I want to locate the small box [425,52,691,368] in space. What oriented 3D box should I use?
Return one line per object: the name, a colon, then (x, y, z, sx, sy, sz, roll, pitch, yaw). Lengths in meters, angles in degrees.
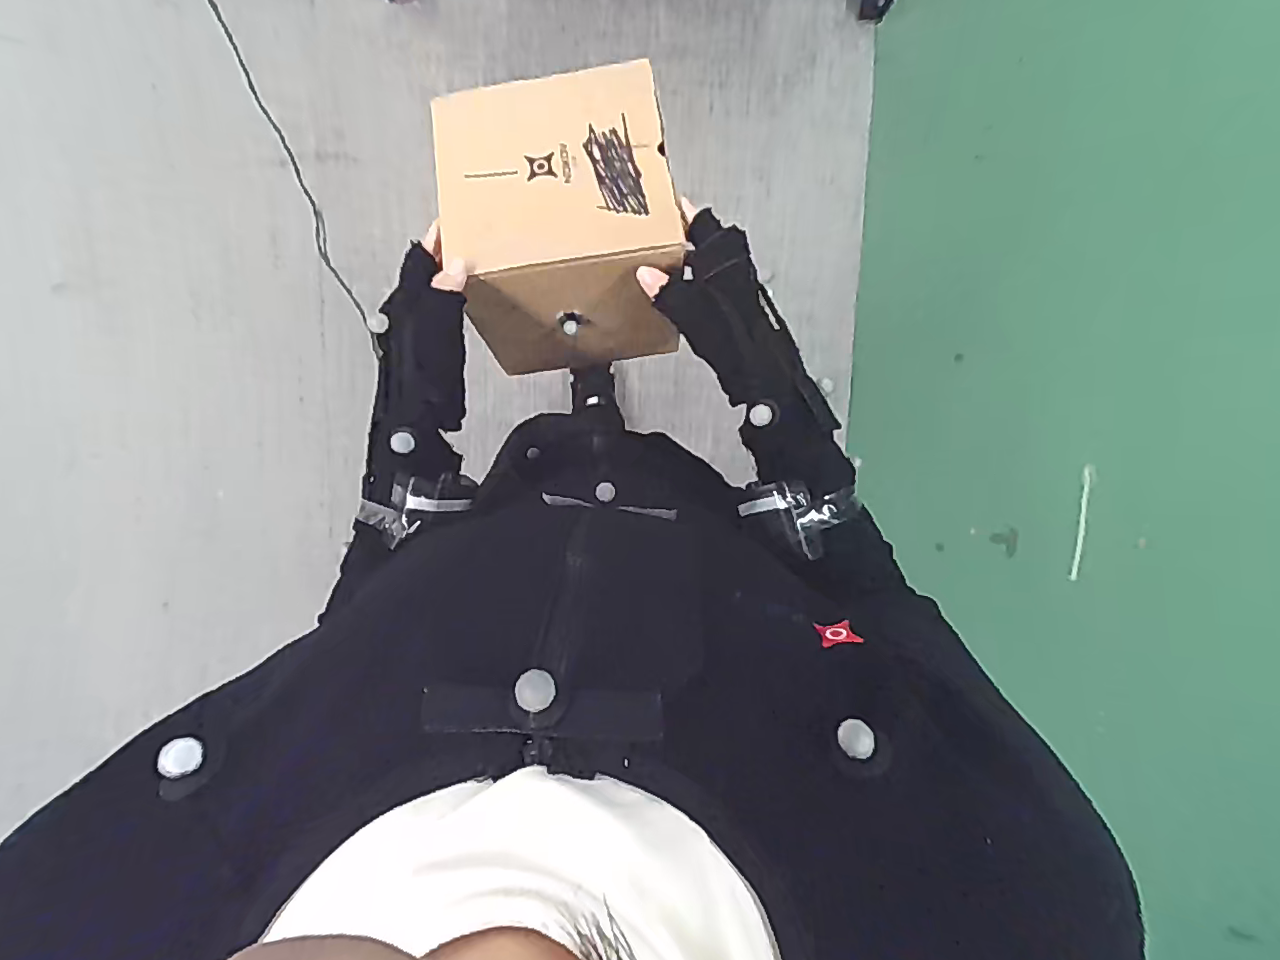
small box: (-0.063, -0.216, 0.473, 0.179, 0.176, 0.168, -11, 77, -2)
